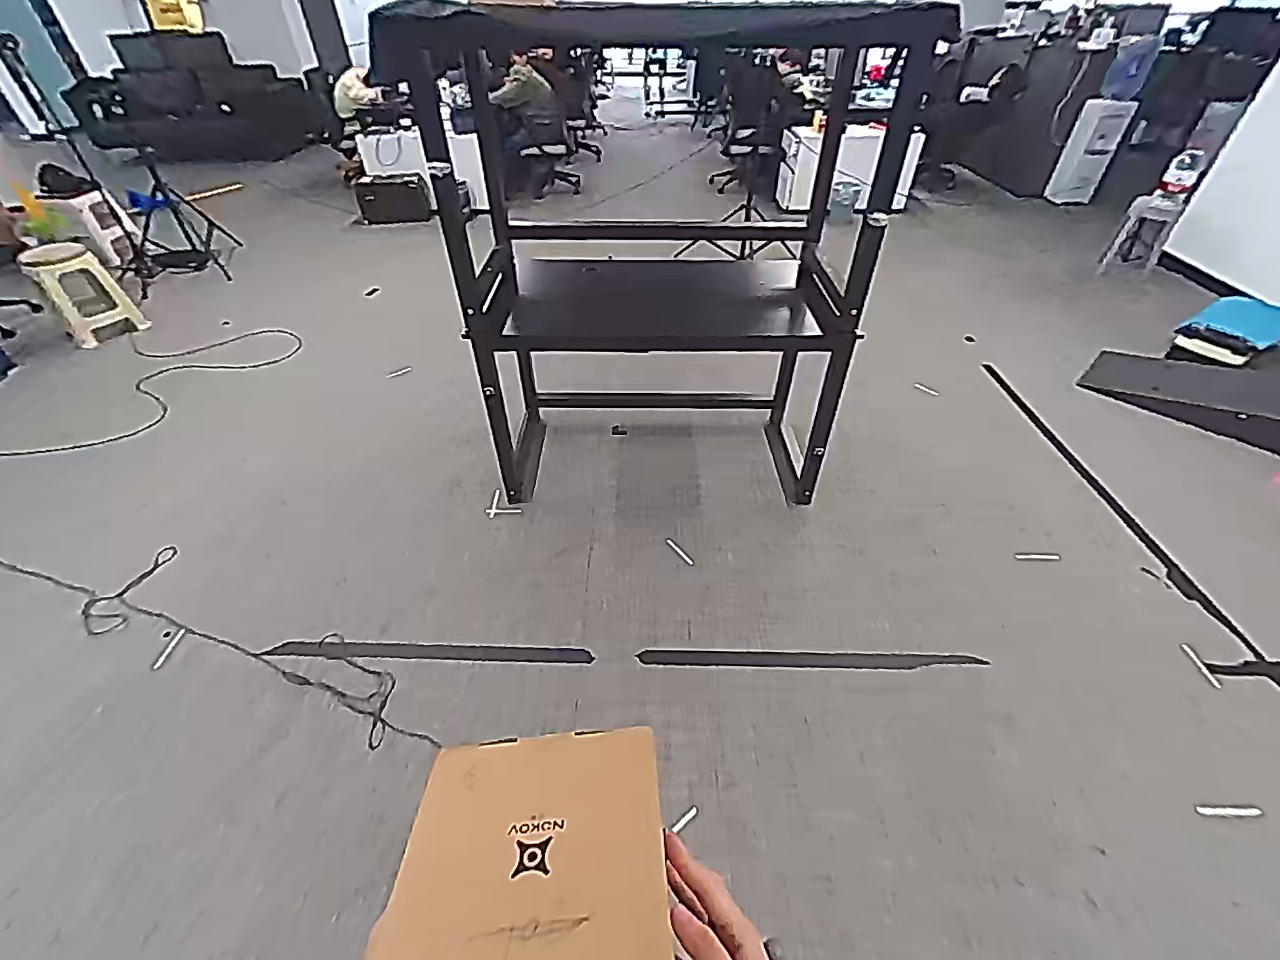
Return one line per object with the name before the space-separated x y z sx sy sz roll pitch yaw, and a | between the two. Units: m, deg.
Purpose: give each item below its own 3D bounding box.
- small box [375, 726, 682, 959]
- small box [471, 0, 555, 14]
small box | -0.058 0.304 0.367 0.168 0.176 0.179 -6 24 -2
small box | -0.278 -1.111 1.154 0.168 0.176 0.179 2 40 0
